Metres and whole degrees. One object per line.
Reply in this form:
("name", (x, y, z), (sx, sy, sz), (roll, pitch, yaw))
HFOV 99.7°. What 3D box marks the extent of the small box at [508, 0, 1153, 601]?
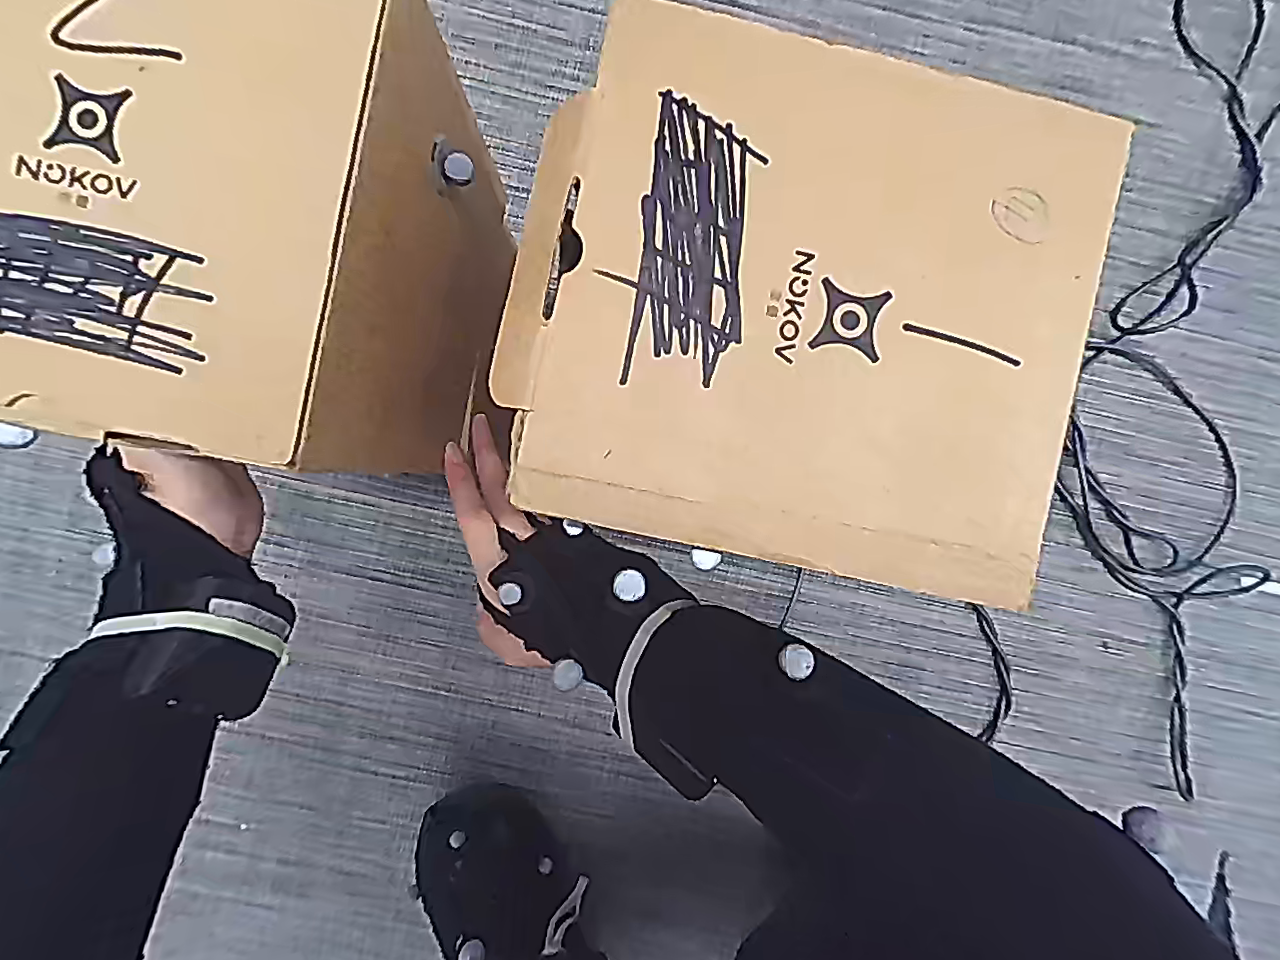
("small box", (0.058, -0.059, 0.247), (0.179, 0.176, 0.168), (13, 90, -3))
